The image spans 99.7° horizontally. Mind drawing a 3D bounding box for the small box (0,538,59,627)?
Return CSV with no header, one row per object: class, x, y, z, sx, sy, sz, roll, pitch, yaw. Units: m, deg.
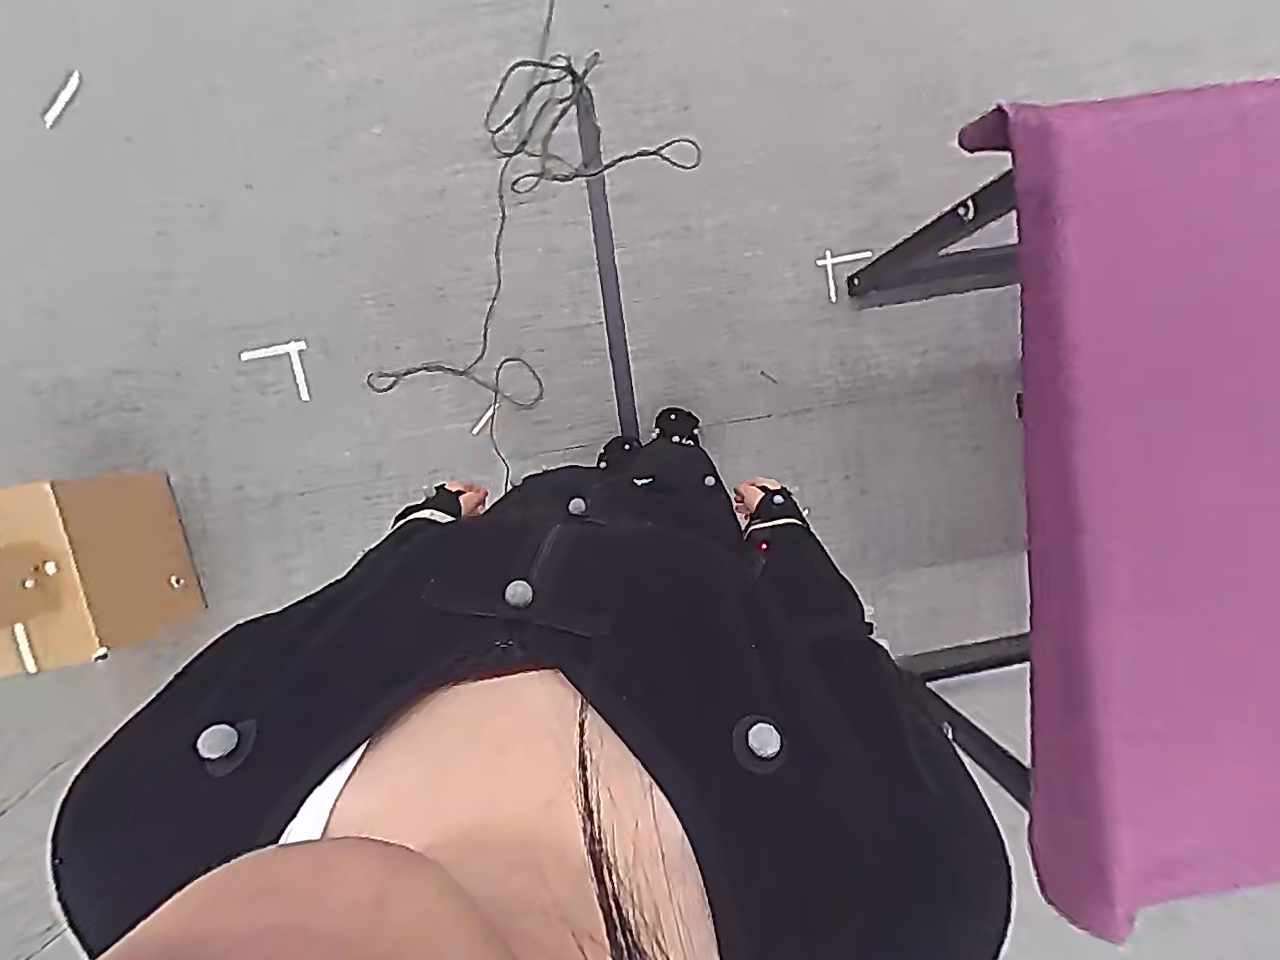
small box,-1.361,0.225,1.091,0.179,0.176,0.168,-12,96,-2
